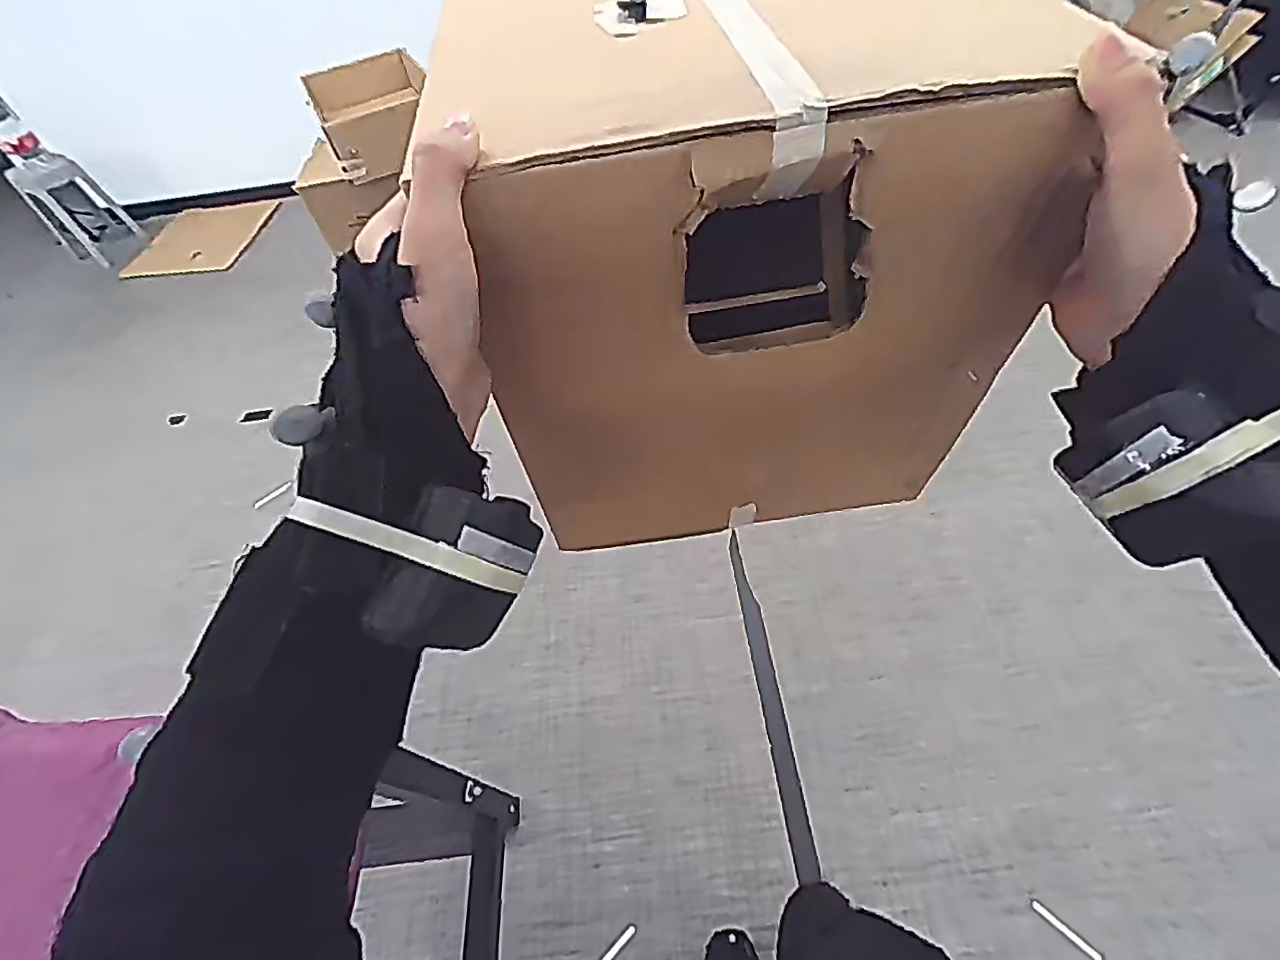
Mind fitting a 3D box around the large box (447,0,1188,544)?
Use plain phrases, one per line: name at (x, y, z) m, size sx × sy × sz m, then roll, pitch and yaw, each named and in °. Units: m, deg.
large box at (0.054, -0.210, 0.448) m, size 0.320 × 0.320 × 0.408 m, roll -10°, pitch 56°, yaw 0°
